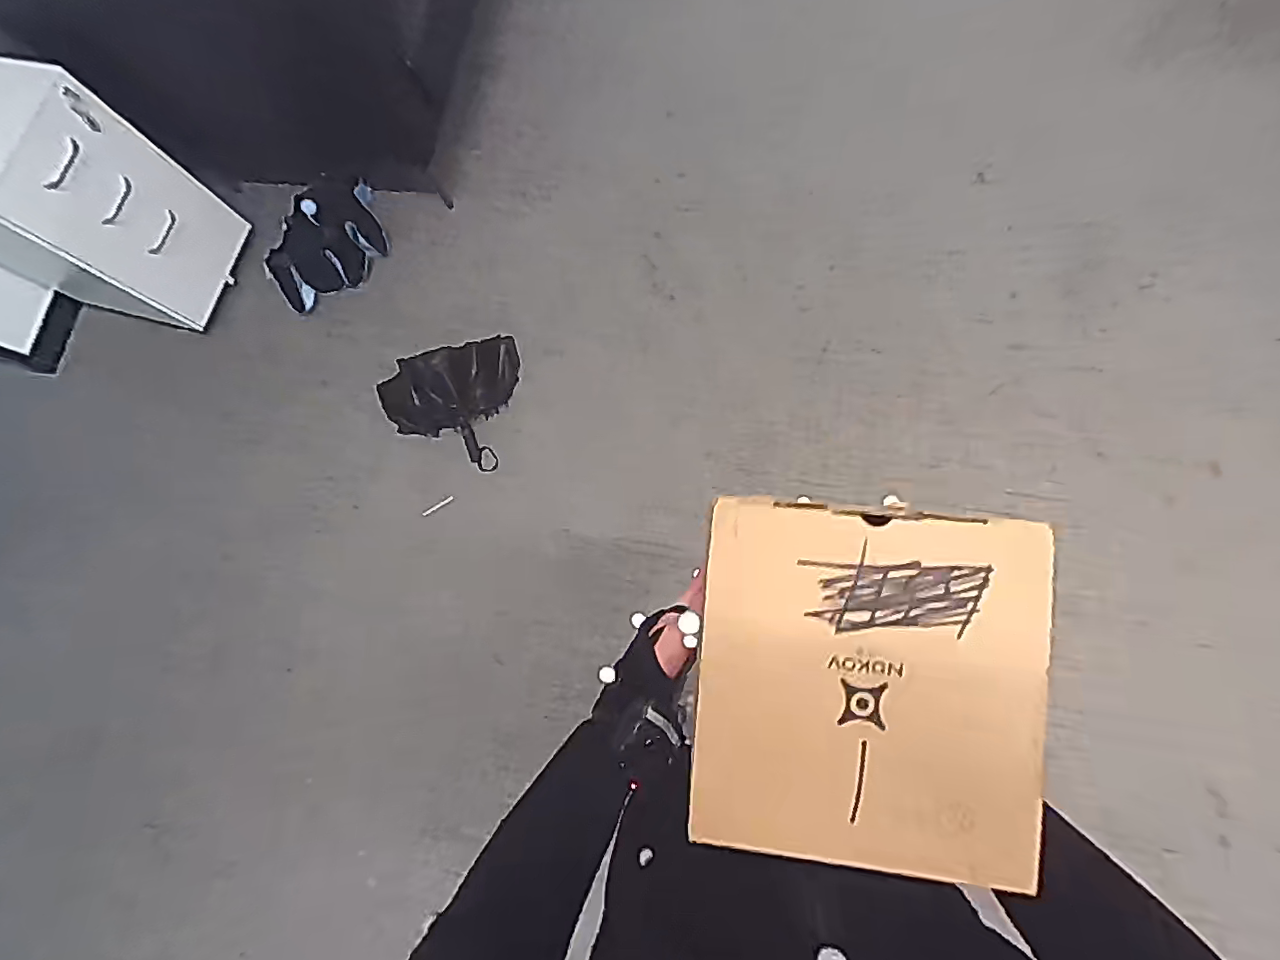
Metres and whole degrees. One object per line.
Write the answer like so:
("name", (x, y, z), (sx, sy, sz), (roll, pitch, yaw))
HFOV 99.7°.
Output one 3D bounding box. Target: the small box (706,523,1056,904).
("small box", (0.131, 0.120, 0.355), (0.168, 0.176, 0.179), (3, 87, 8))
